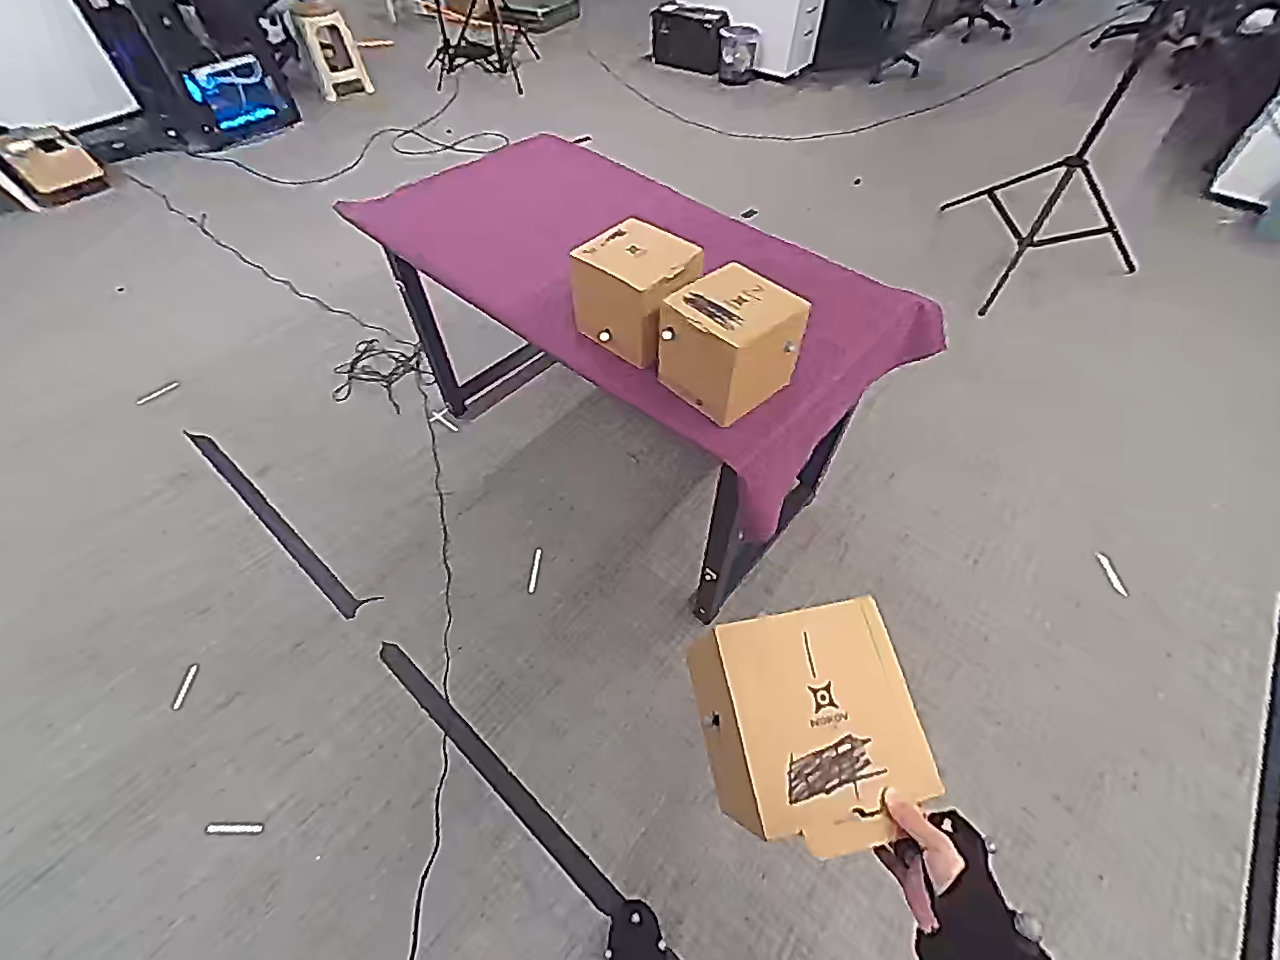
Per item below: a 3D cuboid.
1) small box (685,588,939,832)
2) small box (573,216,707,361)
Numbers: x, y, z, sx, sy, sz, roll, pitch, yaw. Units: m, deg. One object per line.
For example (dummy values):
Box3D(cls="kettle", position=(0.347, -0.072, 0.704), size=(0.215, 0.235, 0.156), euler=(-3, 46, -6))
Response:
Box3D(cls="small box", position=(0.153, 0.225, 0.550), size=(0.168, 0.176, 0.179), euler=(-9, 67, -10))
Box3D(cls="small box", position=(0.000, -0.347, 0.998), size=(0.179, 0.176, 0.168), euler=(36, 61, 22))
